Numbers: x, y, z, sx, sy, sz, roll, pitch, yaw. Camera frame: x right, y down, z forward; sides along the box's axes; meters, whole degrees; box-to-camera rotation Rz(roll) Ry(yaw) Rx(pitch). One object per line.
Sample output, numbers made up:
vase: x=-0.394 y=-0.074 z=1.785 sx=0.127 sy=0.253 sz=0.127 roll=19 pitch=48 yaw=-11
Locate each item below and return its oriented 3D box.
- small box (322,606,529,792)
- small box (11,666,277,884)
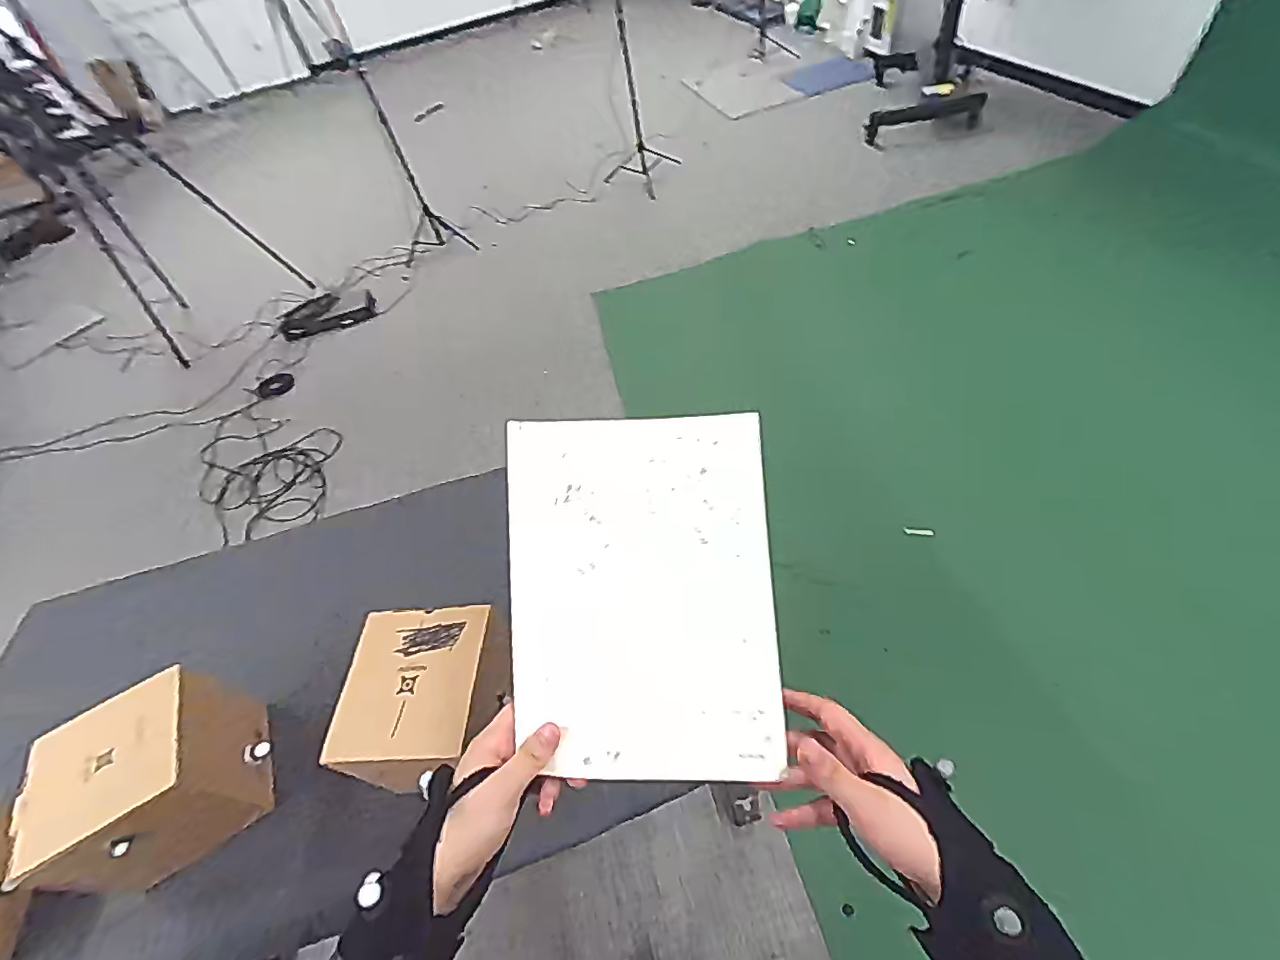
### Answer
small box: x=-0.252 y=0.281 z=0.688 sx=0.168 sy=0.176 sz=0.179 roll=-6 pitch=50 yaw=8
small box: x=-0.611 y=0.380 z=0.692 sx=0.179 sy=0.176 sz=0.168 roll=-29 pitch=52 yaw=-14
